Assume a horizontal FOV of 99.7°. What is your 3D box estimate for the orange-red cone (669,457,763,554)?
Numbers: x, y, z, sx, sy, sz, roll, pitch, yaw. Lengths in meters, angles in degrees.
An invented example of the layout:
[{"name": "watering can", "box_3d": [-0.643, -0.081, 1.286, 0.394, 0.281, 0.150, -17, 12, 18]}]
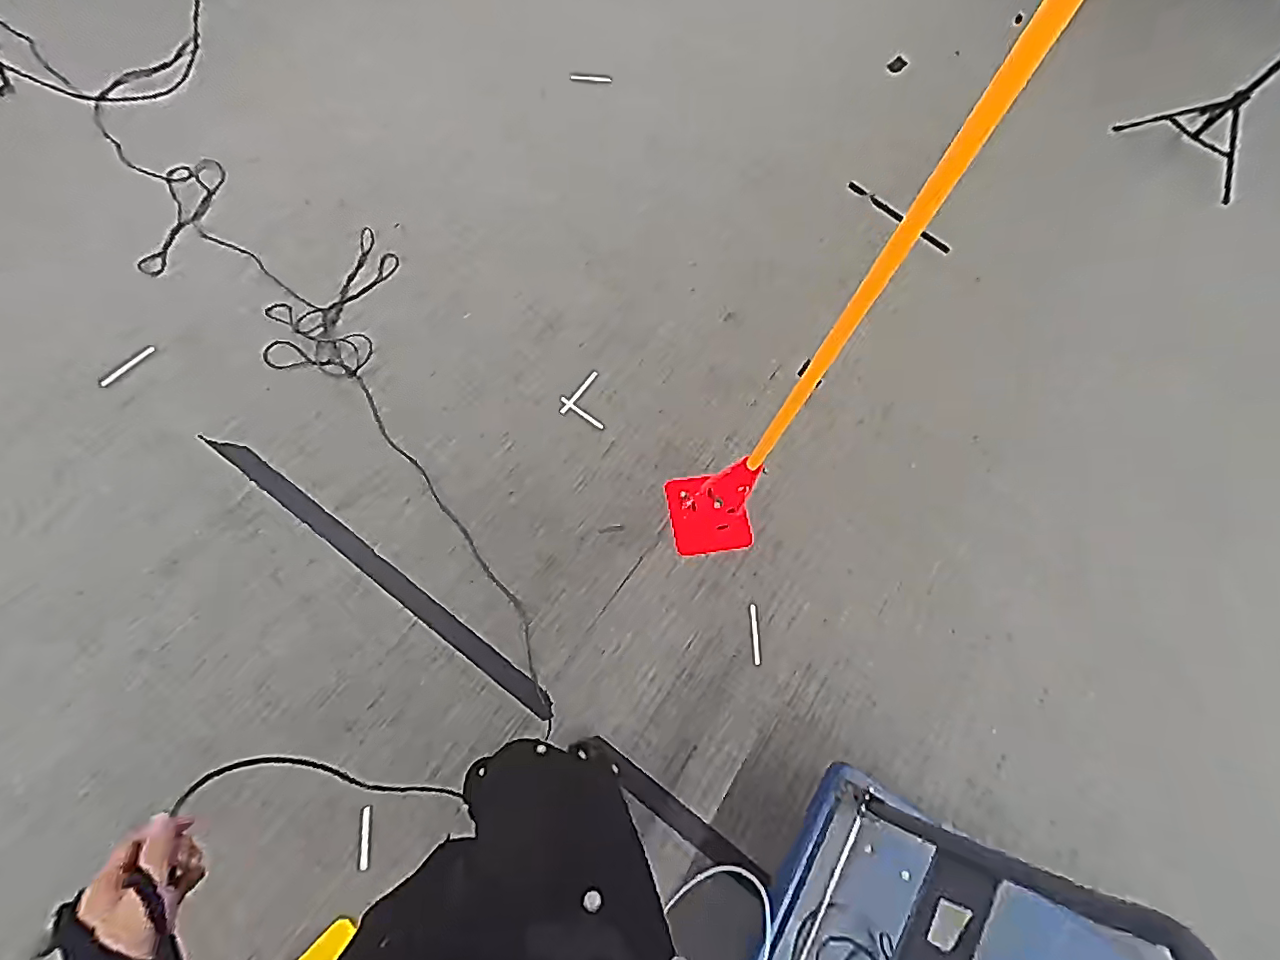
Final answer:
[{"name": "orange-red cone", "box_3d": [0.198, 0.029, 1.193, 0.198, 0.360, 0.199, -6, 73, -9]}]
